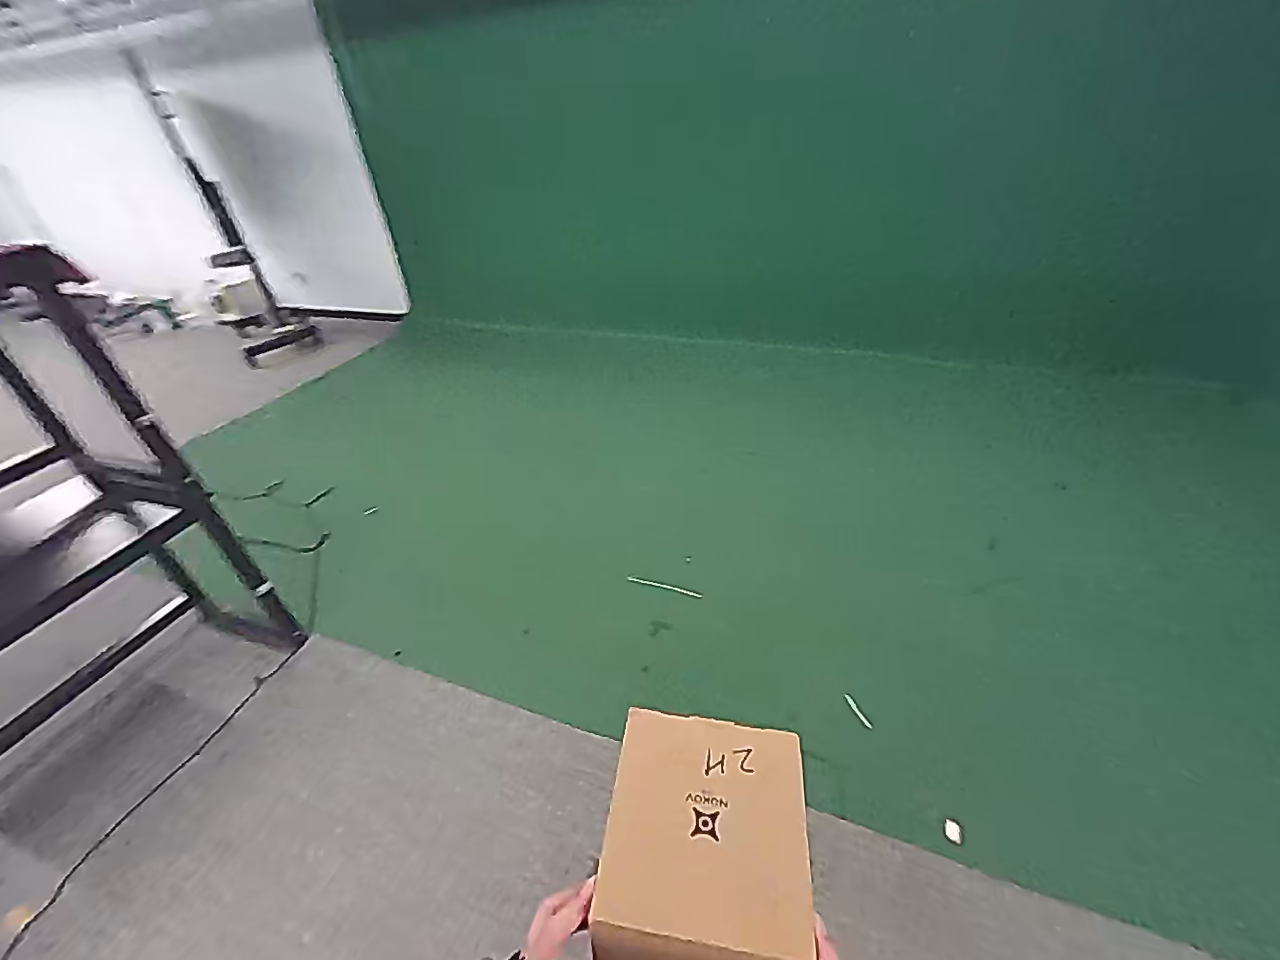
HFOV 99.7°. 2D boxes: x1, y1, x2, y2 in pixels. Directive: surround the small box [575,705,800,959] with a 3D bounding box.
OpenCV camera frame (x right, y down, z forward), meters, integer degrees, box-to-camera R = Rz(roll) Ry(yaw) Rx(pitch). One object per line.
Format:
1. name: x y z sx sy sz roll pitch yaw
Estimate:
1. small box: 0.045 0.344 0.497 0.168 0.176 0.179 6 34 6
